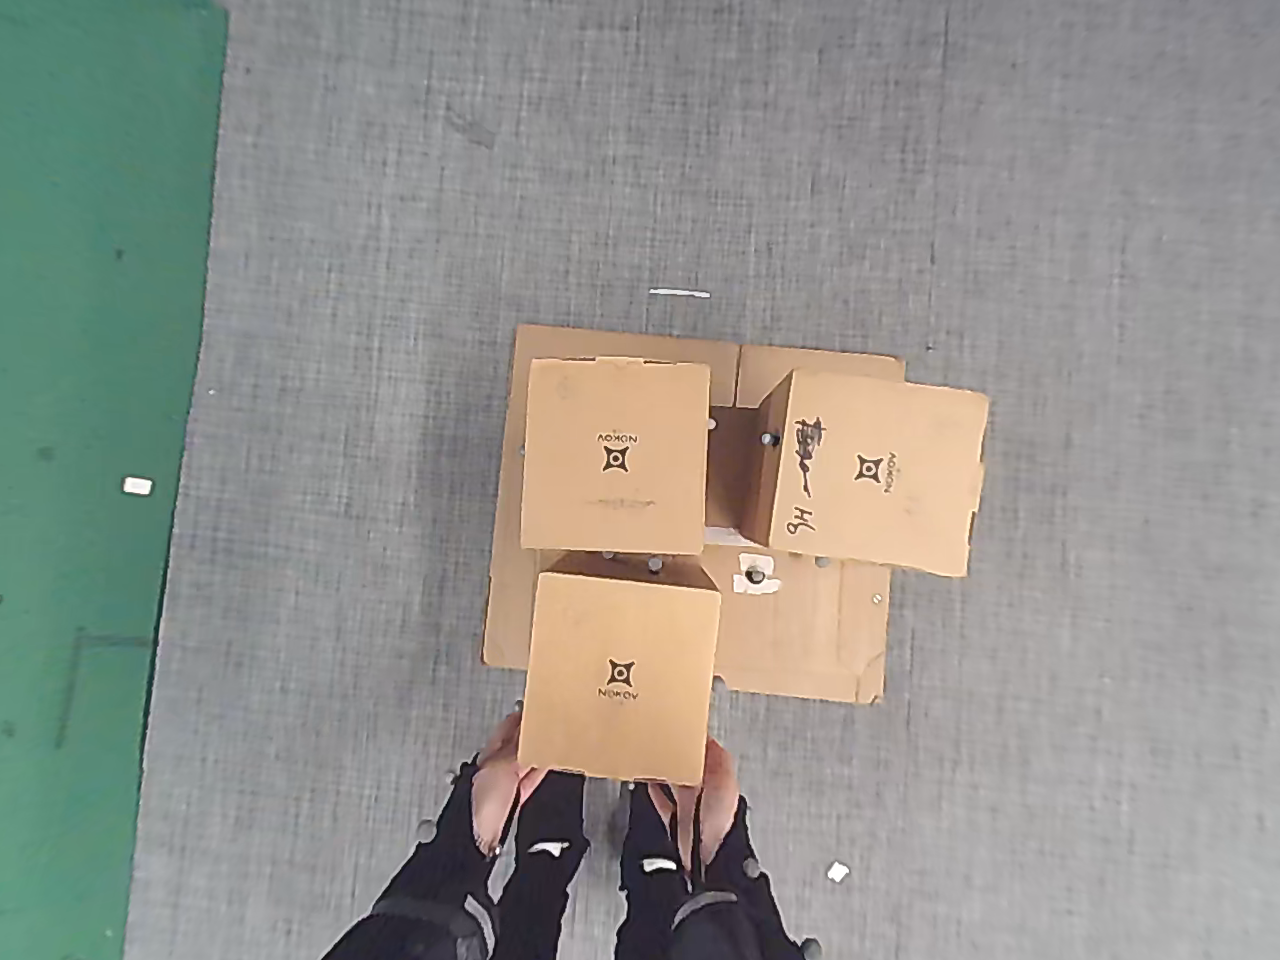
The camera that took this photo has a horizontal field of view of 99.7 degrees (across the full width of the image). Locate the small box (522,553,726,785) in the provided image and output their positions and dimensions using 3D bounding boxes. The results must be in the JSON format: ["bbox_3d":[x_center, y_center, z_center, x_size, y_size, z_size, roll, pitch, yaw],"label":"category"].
[{"bbox_3d":[-0.014,0.175,0.556,0.168,0.176,0.179,6,89,1],"label":"small box"}]

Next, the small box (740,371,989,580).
[{"bbox_3d":[0.214,-0.002,0.559,0.179,0.176,0.168,9,88,2],"label":"small box"}]
